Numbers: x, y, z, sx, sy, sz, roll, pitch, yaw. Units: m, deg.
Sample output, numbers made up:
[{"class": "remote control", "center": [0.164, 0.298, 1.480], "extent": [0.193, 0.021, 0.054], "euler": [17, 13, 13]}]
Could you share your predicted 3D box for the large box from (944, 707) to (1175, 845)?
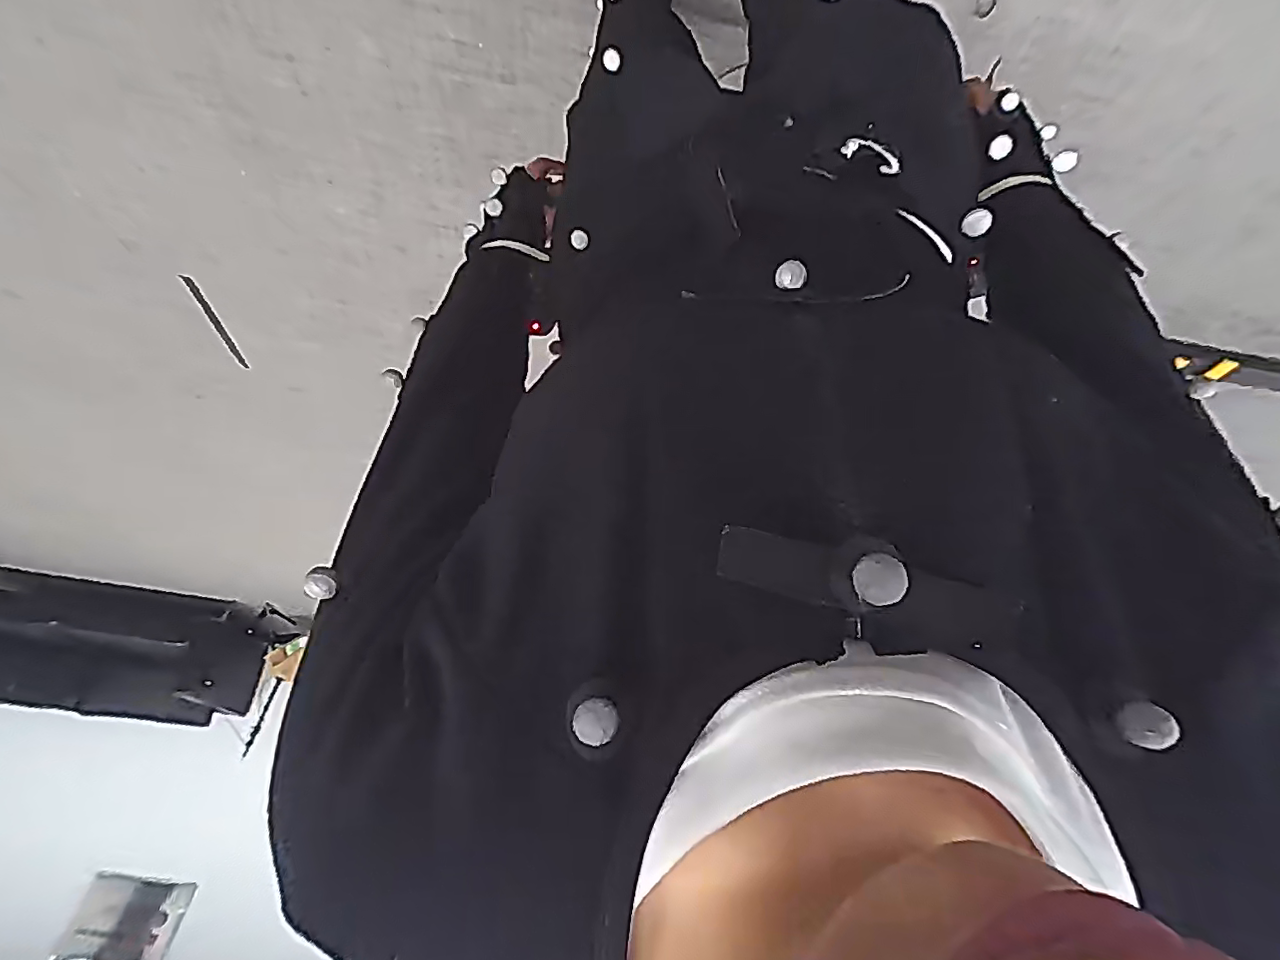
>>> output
[{"class": "large box", "center": [1.231, 0.899, 1.643], "extent": [0.408, 0.320, 0.320], "euler": [9, 147, -4]}]
